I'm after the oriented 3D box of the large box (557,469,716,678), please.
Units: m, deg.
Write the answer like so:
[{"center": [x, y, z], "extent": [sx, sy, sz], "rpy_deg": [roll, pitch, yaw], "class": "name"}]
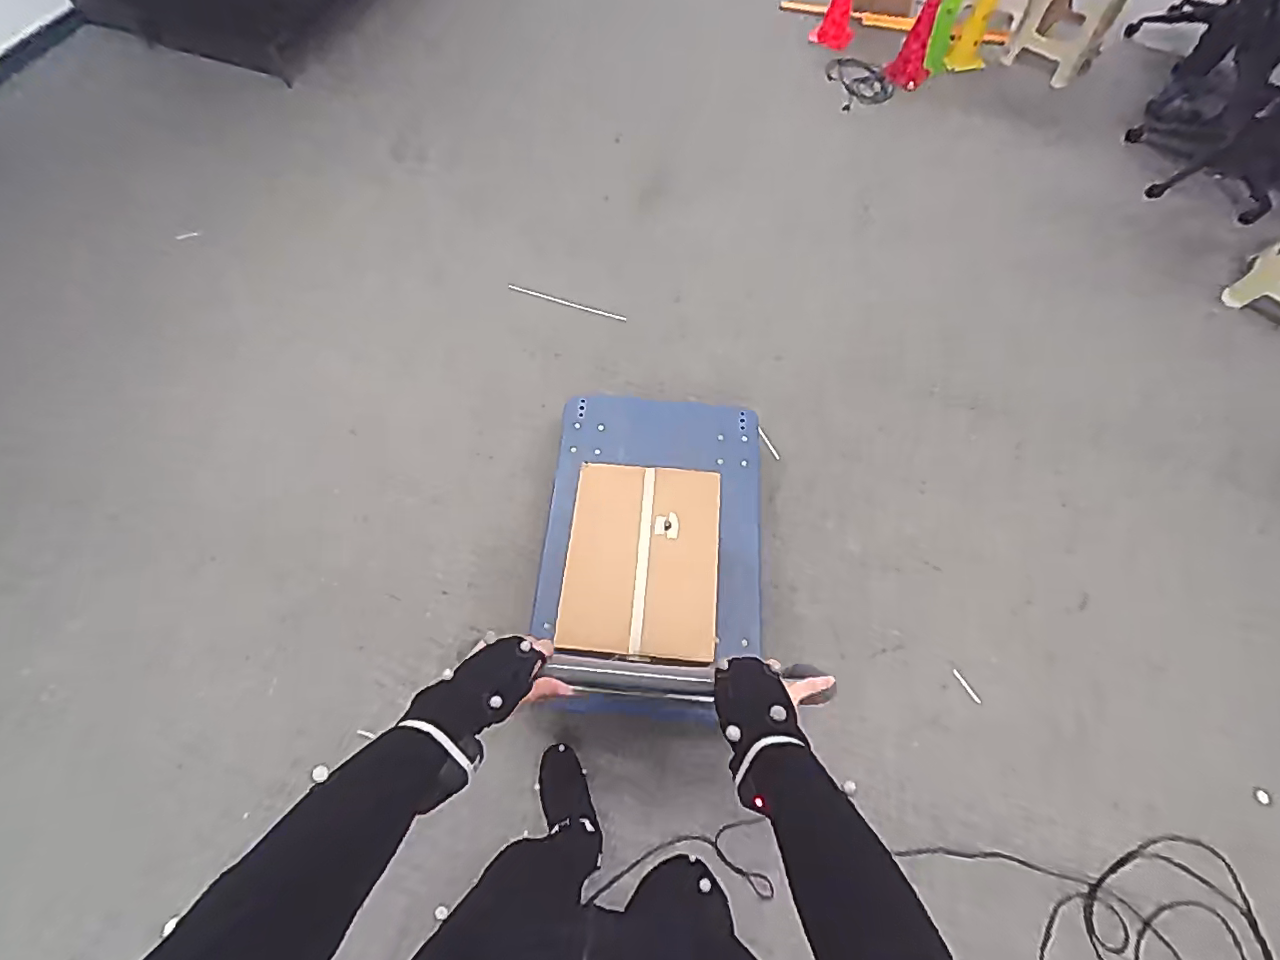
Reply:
[{"center": [0.004, 0.229, 1.271], "extent": [0.320, 0.320, 0.408], "rpy_deg": [5, 63, 2], "class": "large box"}]
